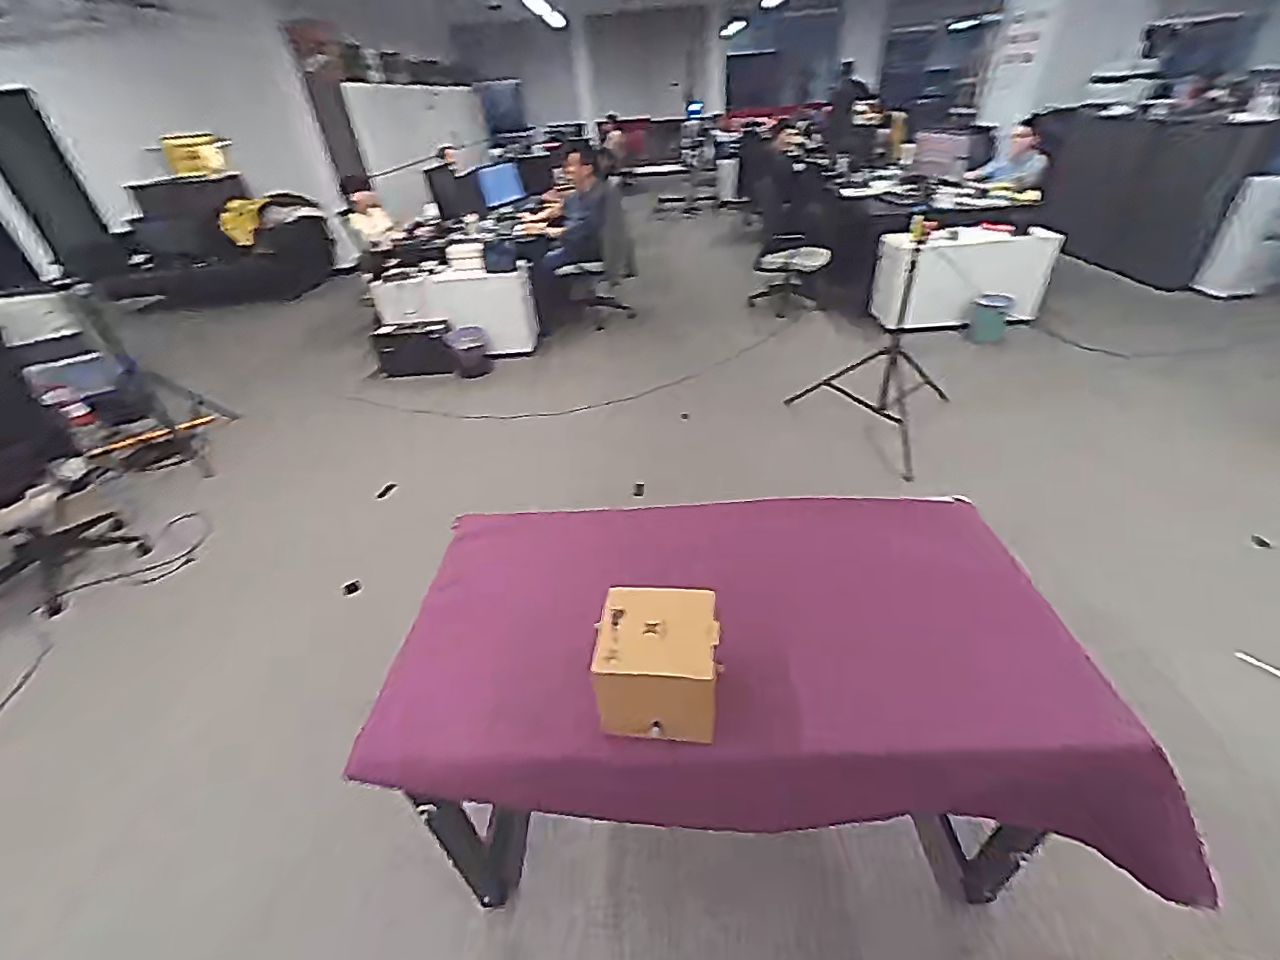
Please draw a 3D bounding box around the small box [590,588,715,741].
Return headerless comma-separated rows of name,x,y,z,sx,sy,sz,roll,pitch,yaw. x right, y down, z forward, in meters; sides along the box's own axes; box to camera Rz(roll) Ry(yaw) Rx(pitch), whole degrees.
small box,0.029,0.296,0.870,0.179,0.176,0.168,1,35,8
